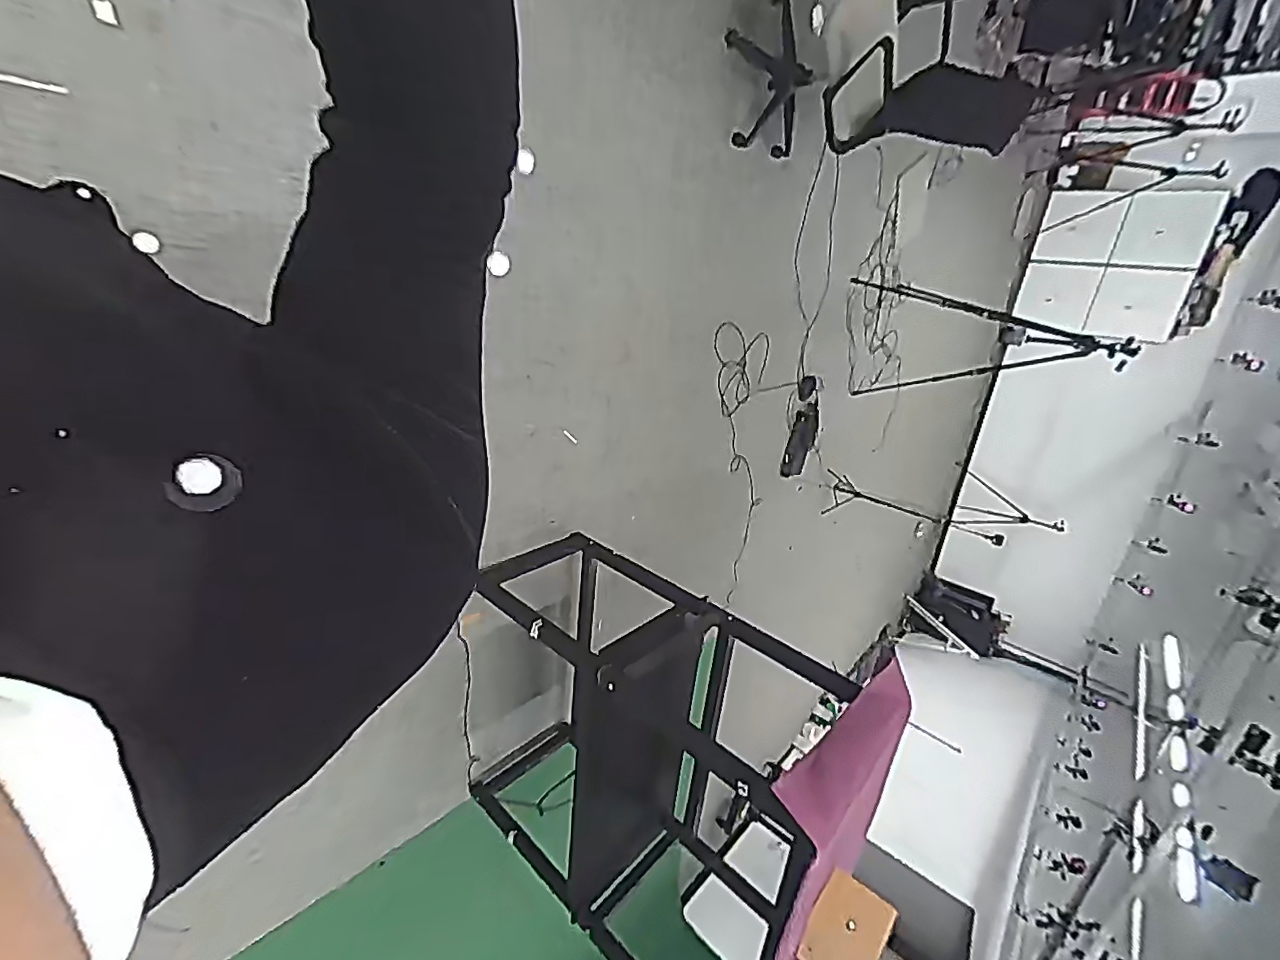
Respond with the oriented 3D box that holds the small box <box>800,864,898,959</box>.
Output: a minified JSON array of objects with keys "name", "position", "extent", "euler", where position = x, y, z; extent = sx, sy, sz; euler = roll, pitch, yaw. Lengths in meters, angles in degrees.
[{"name":"small box","position":[0.528,1.146,1.377],"extent":[0.179,0.176,0.168],"euler":[-15,120,-48]}]
